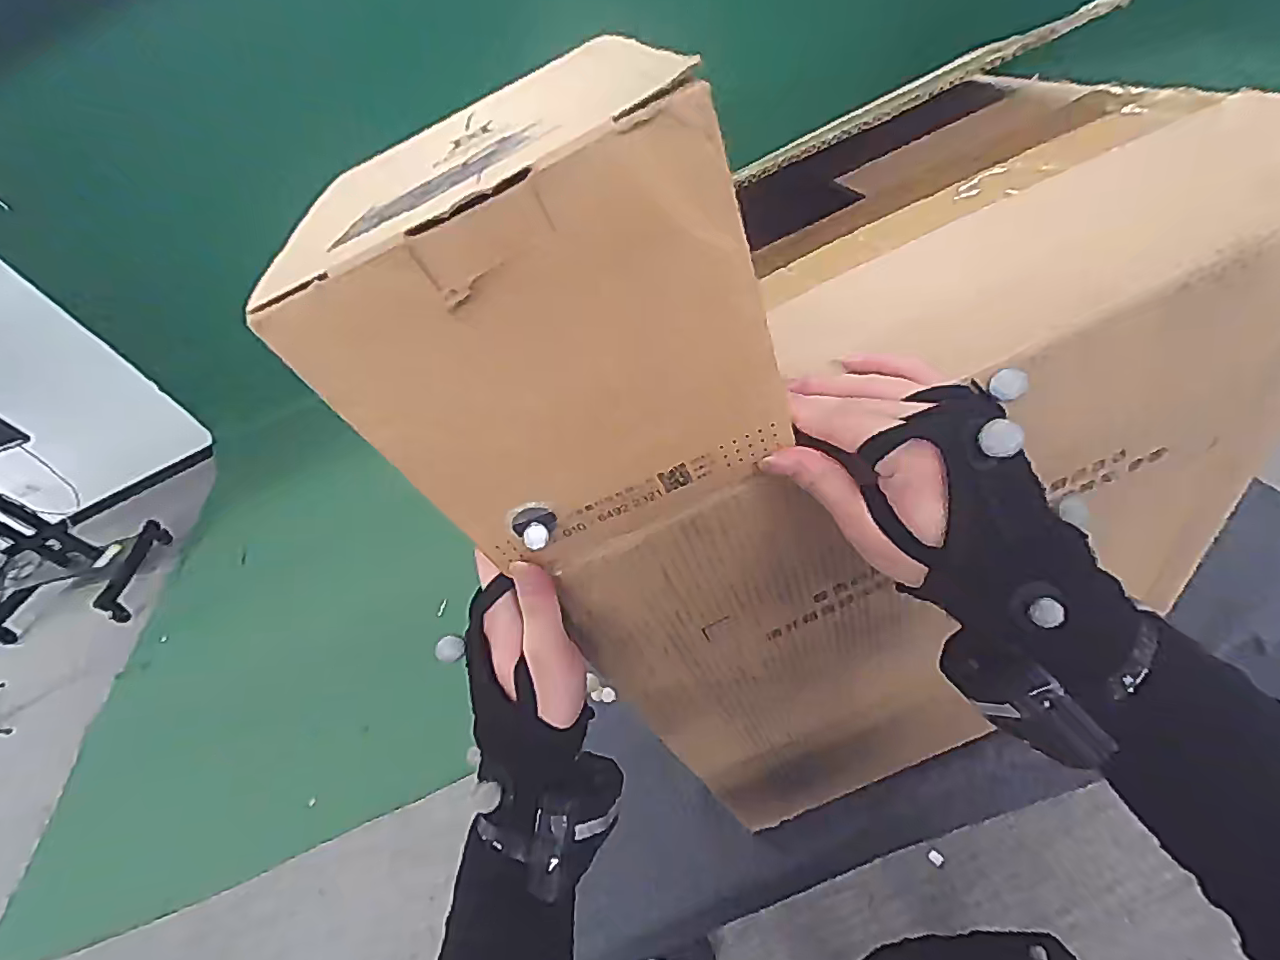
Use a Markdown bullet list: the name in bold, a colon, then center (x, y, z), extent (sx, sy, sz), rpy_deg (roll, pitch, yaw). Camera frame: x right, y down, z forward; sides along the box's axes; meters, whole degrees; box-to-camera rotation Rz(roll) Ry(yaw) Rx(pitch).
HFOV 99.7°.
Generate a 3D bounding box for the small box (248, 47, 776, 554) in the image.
- **small box**: center (-0.045, -0.084, 0.285), extent (0.168, 0.176, 0.179), rpy_deg (-24, 43, 6)
